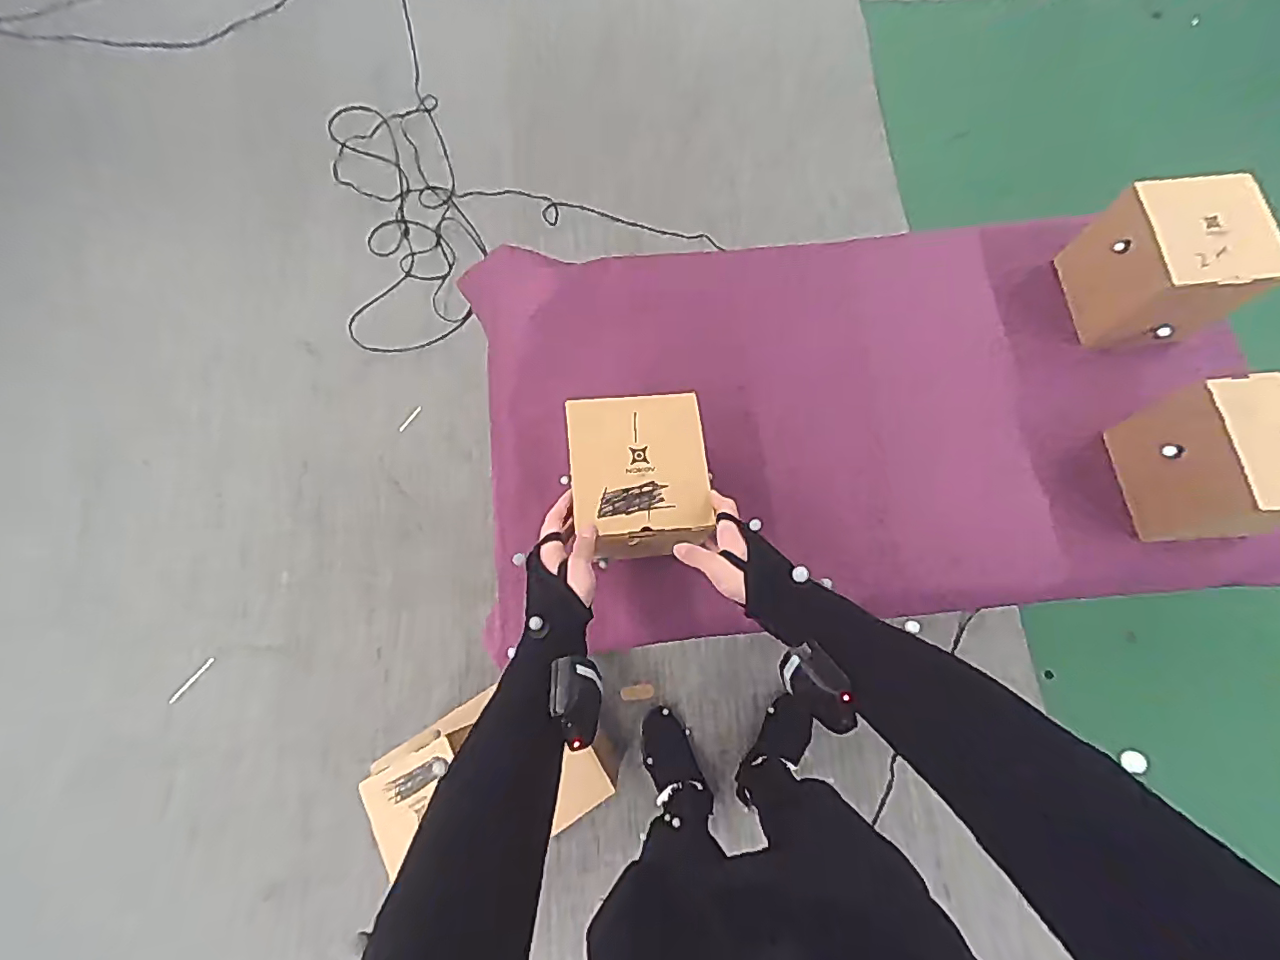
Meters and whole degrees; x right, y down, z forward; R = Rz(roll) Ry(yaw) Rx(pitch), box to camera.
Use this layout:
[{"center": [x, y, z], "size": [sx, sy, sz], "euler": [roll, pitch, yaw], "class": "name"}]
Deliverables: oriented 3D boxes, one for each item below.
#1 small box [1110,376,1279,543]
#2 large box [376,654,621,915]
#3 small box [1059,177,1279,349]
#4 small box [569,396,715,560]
[{"center": [0.798, -0.022, 0.731], "size": [0.168, 0.176, 0.179], "euler": [-4, 70, 1], "class": "small box"}, {"center": [-0.292, 0.645, 1.229], "size": [0.408, 0.320, 0.320], "euler": [-31, 76, -10], "class": "large box"}, {"center": [0.792, -0.323, 0.825], "size": [0.168, 0.176, 0.179], "euler": [-4, 74, 2], "class": "small box"}, {"center": [-0.004, 0.007, 0.724], "size": [0.168, 0.176, 0.179], "euler": [-4, 71, -6], "class": "small box"}]
